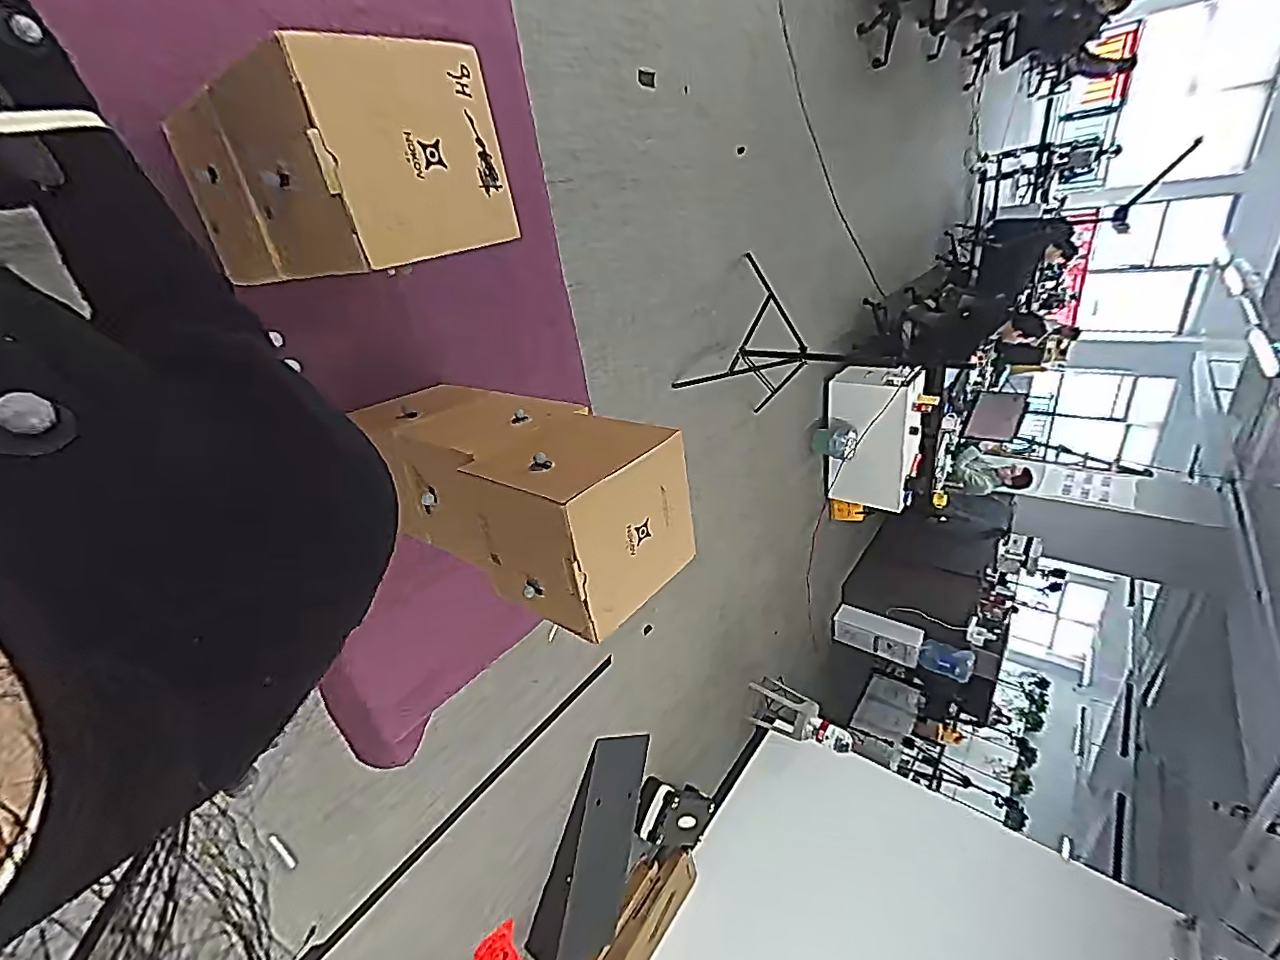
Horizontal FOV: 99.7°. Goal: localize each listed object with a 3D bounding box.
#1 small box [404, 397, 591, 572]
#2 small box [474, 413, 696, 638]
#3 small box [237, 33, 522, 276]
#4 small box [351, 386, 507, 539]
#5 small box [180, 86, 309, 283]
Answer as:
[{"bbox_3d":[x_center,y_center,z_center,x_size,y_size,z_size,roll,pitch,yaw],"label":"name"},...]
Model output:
[{"bbox_3d":[-0.173,-0.005,0.714,0.179,0.176,0.168,-32,124,-42],"label":"small box"},{"bbox_3d":[-0.061,0.036,0.602,0.179,0.176,0.168,-36,128,-41],"label":"small box"},{"bbox_3d":[-0.251,-0.301,0.526,0.179,0.176,0.168,-37,128,-41],"label":"small box"},{"bbox_3d":[-0.303,-0.036,0.810,0.179,0.176,0.168,-32,125,-43],"label":"small box"},{"bbox_3d":[-0.383,-0.327,0.620,0.179,0.176,0.168,-35,127,-43],"label":"small box"}]
